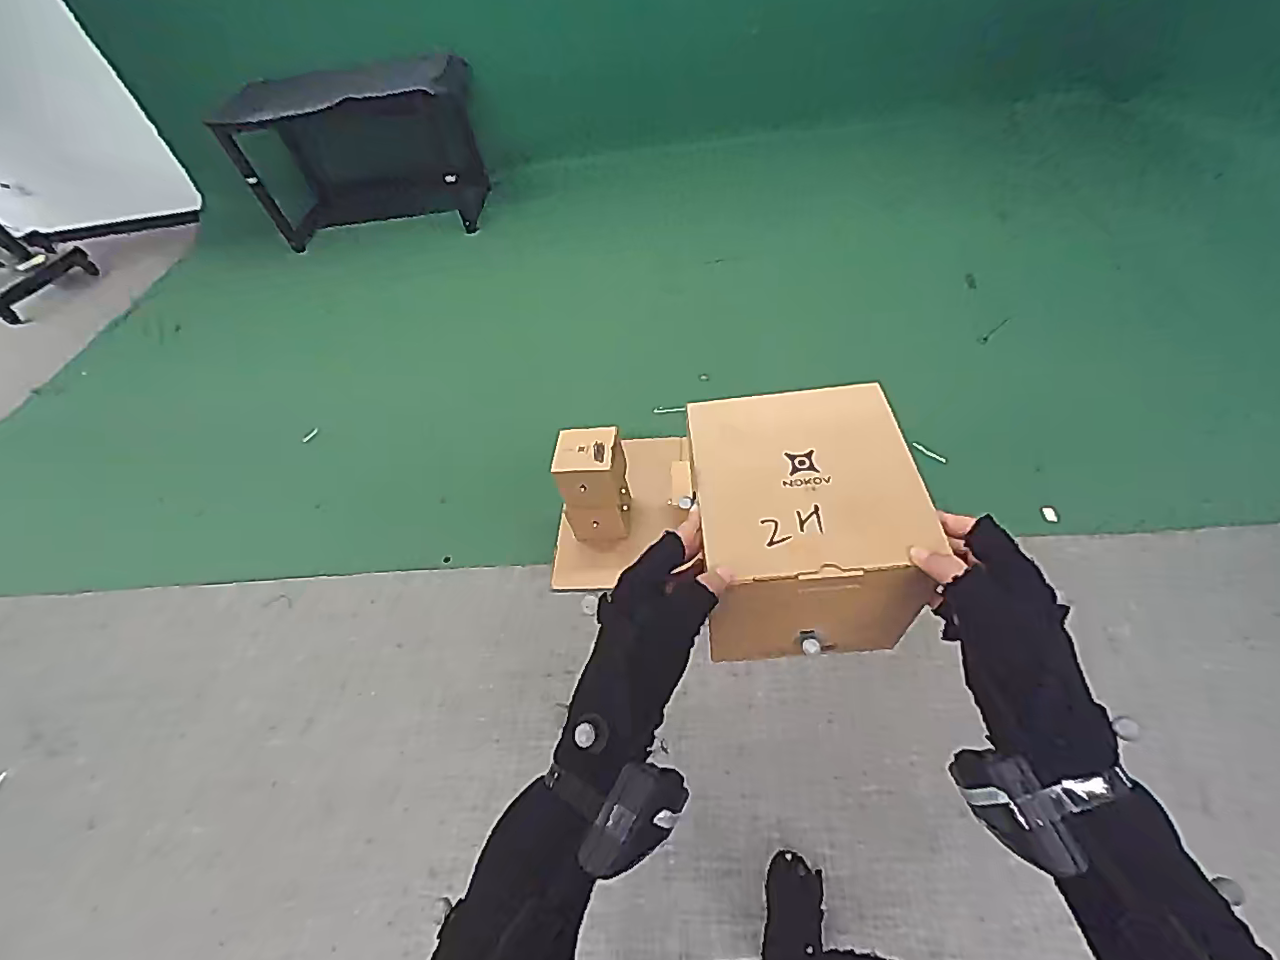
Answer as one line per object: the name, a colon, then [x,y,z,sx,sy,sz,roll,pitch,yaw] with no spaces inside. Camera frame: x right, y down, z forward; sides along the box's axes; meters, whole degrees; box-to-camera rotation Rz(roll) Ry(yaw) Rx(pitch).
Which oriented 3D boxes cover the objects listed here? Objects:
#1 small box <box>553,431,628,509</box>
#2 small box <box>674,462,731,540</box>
small box: [-0.137,-0.026,1.604,0.179,0.176,0.168,-2,51,11]
small box: [0.195,0.067,1.687,0.168,0.176,0.179,-4,51,7]
